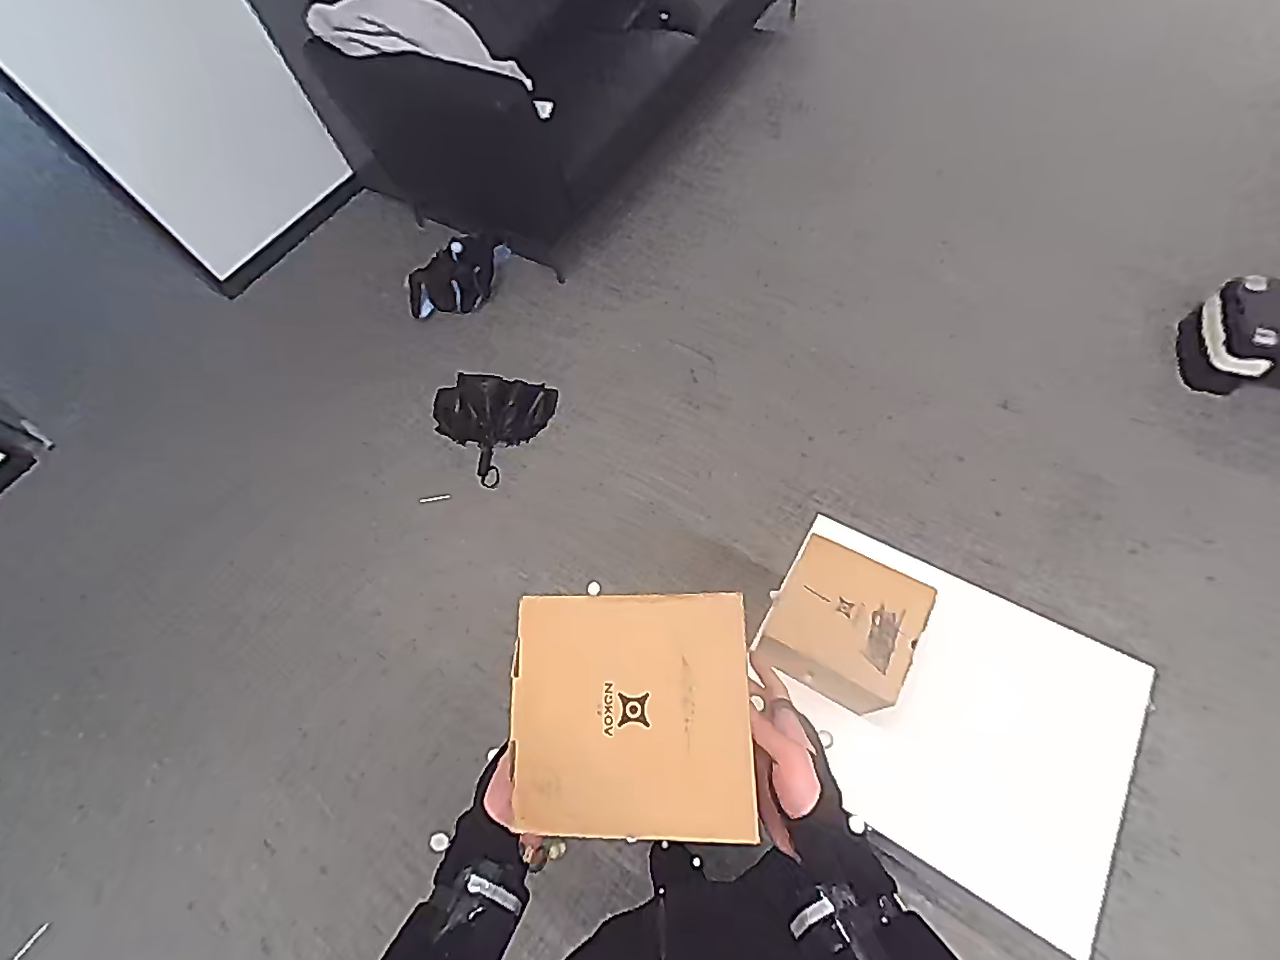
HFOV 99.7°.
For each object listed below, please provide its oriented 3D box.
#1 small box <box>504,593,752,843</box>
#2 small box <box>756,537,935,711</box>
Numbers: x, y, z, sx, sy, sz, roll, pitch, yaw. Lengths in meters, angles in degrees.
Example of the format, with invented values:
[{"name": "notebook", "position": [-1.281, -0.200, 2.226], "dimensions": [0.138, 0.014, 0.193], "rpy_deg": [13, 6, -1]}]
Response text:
[{"name": "small box", "position": [-0.001, 0.188, 0.467], "dimensions": [0.179, 0.176, 0.168], "rpy_deg": [-4, 75, 7]}, {"name": "small box", "position": [0.283, 0.214, 0.780], "dimensions": [0.179, 0.176, 0.168], "rpy_deg": [26, 68, 20]}]
